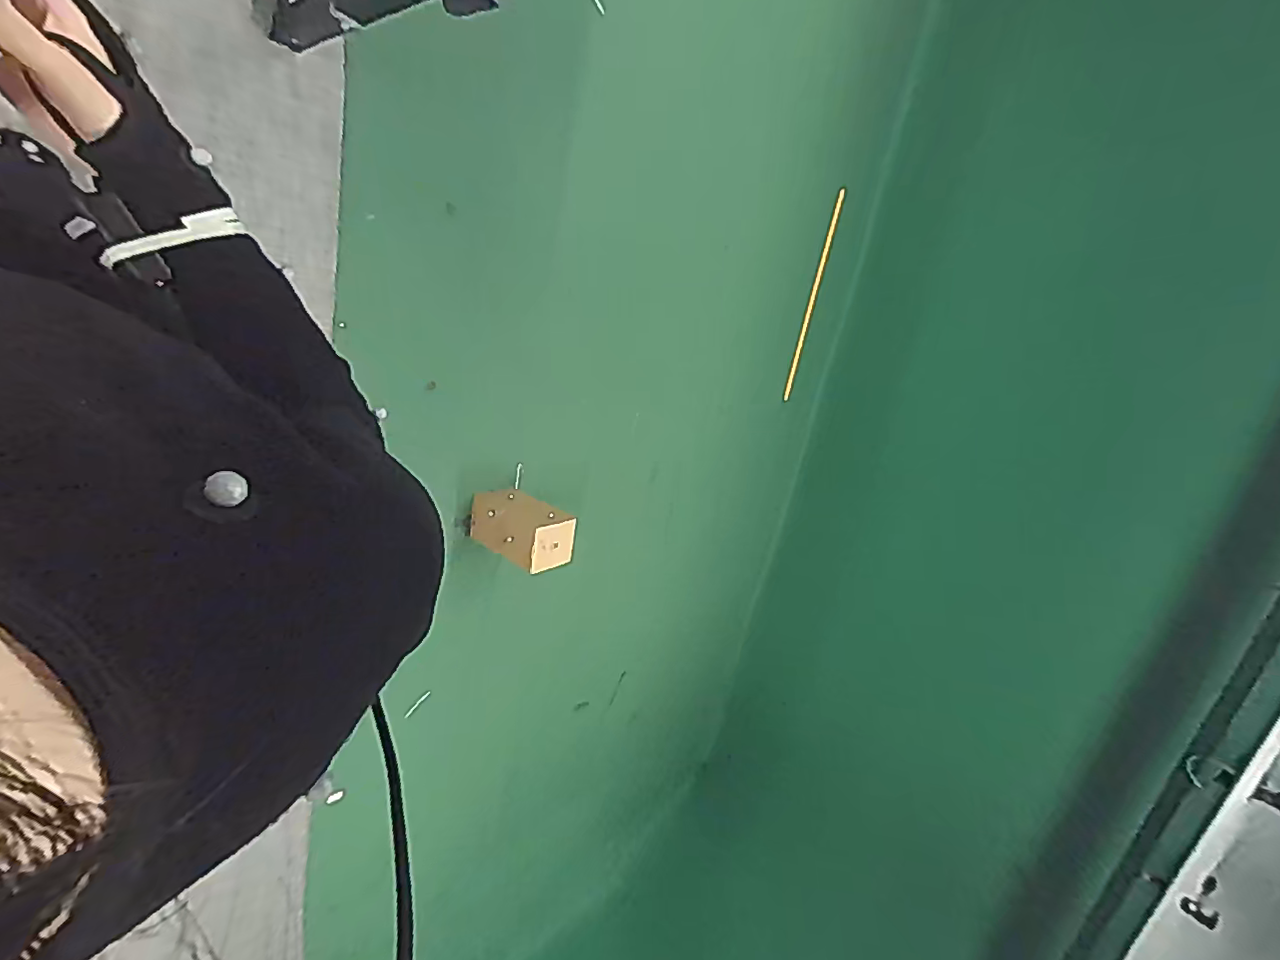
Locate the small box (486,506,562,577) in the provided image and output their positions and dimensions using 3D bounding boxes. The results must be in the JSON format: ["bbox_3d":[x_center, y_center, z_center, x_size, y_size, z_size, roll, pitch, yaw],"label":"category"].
[{"bbox_3d":[-0.390,0.199,1.820,0.179,0.176,0.168,-11,117,-50],"label":"small box"}]
